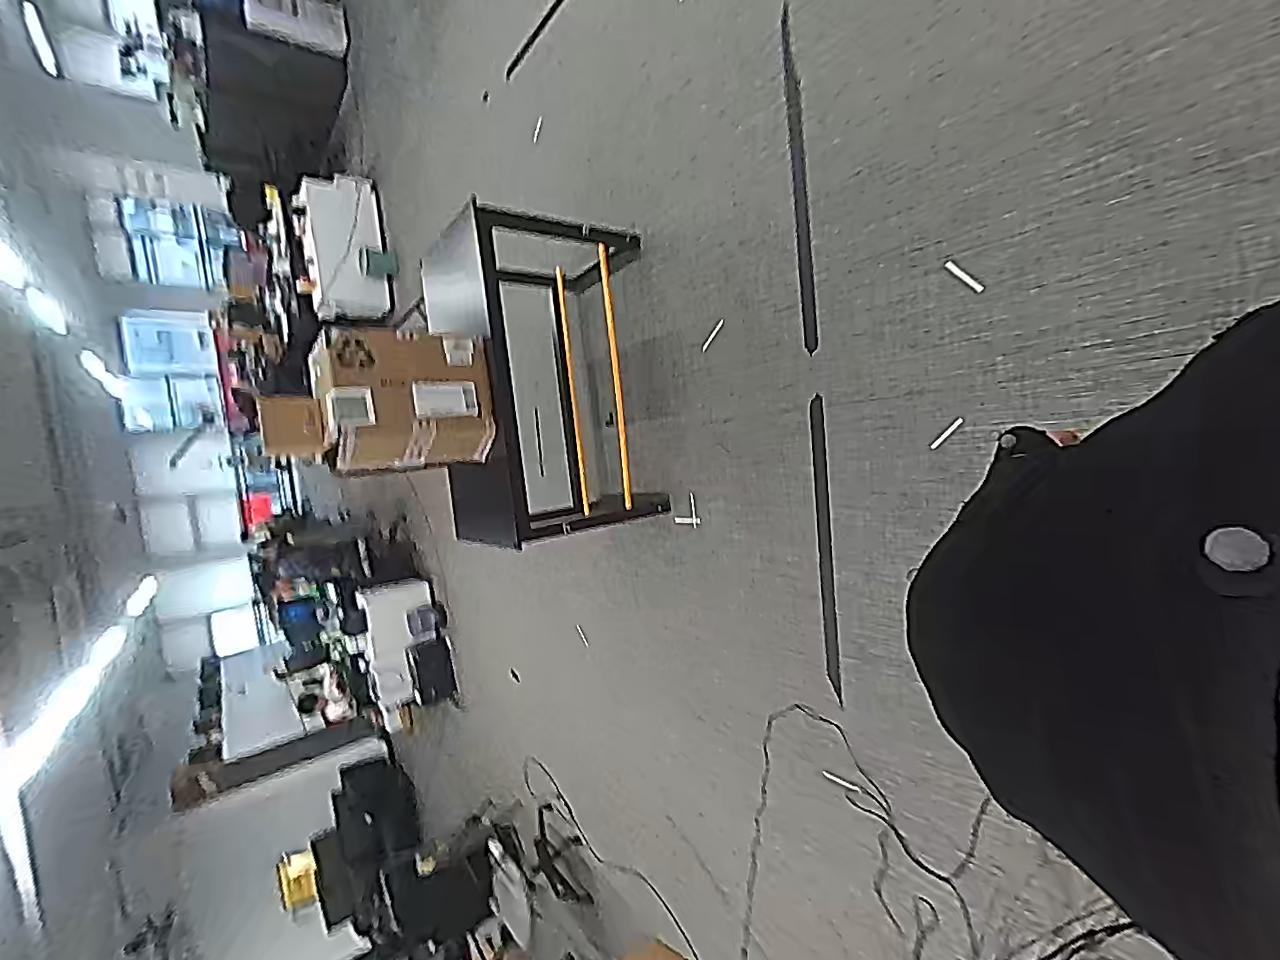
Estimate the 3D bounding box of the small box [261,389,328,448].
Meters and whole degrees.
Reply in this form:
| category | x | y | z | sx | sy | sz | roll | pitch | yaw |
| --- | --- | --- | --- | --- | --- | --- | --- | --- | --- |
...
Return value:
| category | x | y | z | sx | sy | sz | roll | pitch | yaw |
| --- | --- | --- | --- | --- | --- | --- | --- | --- | --- |
| small box | -1.143 | -0.202 | 1.790 | 0.179 | 0.176 | 0.168 | -12 | 87 | 54 |
